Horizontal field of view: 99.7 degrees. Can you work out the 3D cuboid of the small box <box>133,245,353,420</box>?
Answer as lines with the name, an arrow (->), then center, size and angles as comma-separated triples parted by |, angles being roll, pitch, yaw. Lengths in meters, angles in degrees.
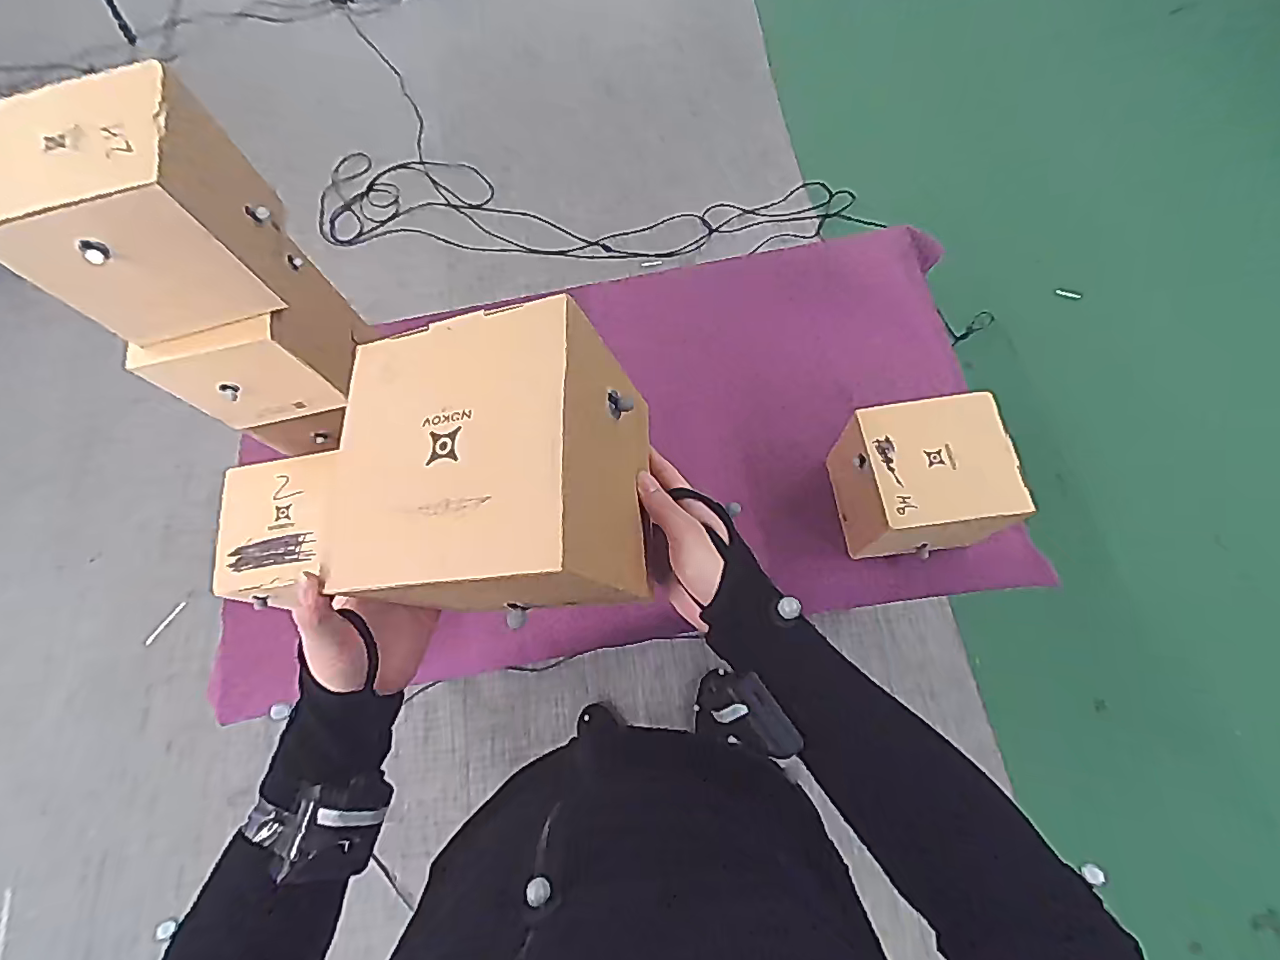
small box -> -0.498, -0.193, 0.706 | 0.168, 0.176, 0.179 | -13, 70, -1

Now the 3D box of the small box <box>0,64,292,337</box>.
small box -> -0.501, -0.274, 0.560 | 0.179, 0.176, 0.168 | -16, 70, -2

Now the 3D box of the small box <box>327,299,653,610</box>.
small box -> -0.091, -0.001, 0.407 | 0.168, 0.176, 0.179 | -7, 71, 16

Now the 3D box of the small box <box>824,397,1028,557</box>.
small box -> 0.377, 0.004, 0.750 | 0.179, 0.176, 0.168 | -7, 69, 2
